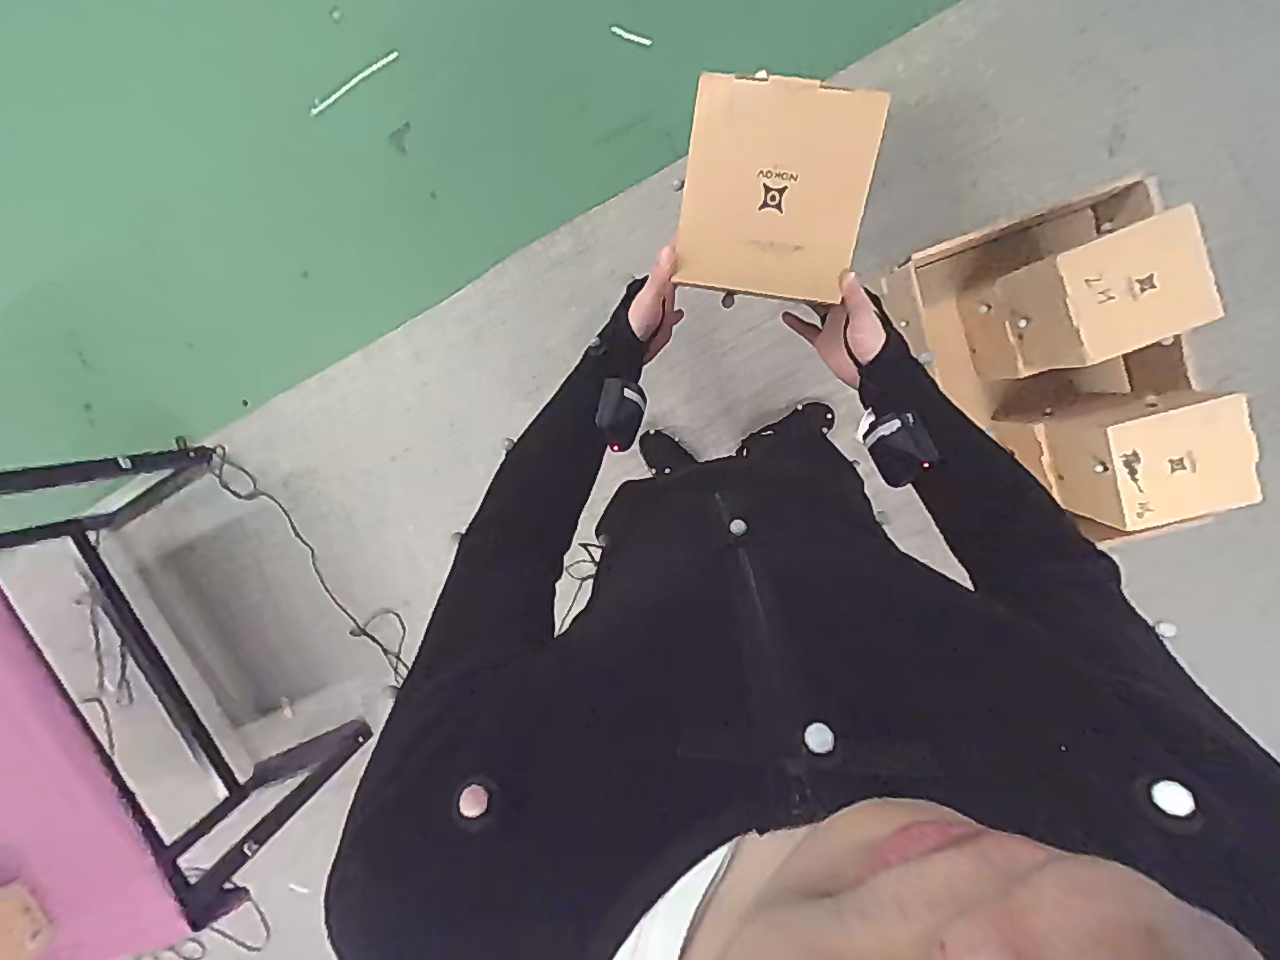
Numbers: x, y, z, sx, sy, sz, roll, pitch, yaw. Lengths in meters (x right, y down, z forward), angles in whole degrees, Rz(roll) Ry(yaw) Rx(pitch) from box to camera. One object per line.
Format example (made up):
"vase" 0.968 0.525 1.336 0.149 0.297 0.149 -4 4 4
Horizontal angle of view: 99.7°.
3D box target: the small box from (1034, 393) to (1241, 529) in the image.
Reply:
"small box" 0.791 -0.039 0.876 0.179 0.176 0.168 -16 98 10

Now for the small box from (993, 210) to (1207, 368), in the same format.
"small box" 0.697 -0.283 0.839 0.179 0.176 0.168 -21 97 11

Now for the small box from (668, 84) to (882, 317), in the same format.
"small box" 0.125 -0.278 0.571 0.168 0.176 0.179 9 111 2

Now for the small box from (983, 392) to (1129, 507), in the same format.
"small box" 0.804 -0.066 1.038 0.179 0.176 0.168 -18 98 11

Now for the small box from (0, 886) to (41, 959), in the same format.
"small box" -1.544 1.076 1.232 0.179 0.176 0.168 -24 96 10
